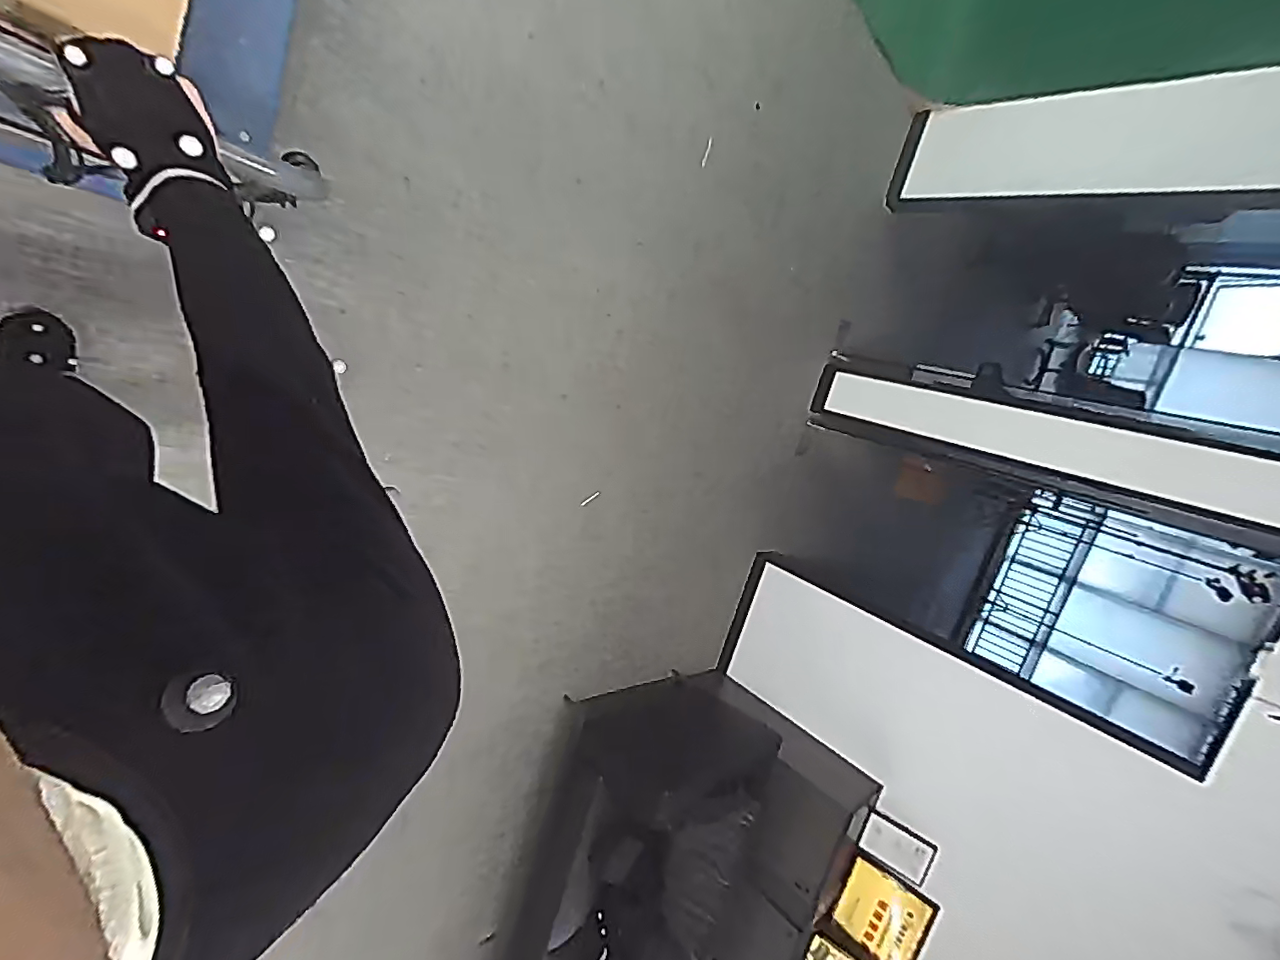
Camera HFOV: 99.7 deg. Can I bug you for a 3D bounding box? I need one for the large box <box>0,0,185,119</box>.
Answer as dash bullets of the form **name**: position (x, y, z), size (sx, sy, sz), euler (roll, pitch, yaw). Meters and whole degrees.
- **large box**: position (-0.807, -0.790, 0.719), size (0.320, 0.320, 0.408), euler (11, 101, -47)
